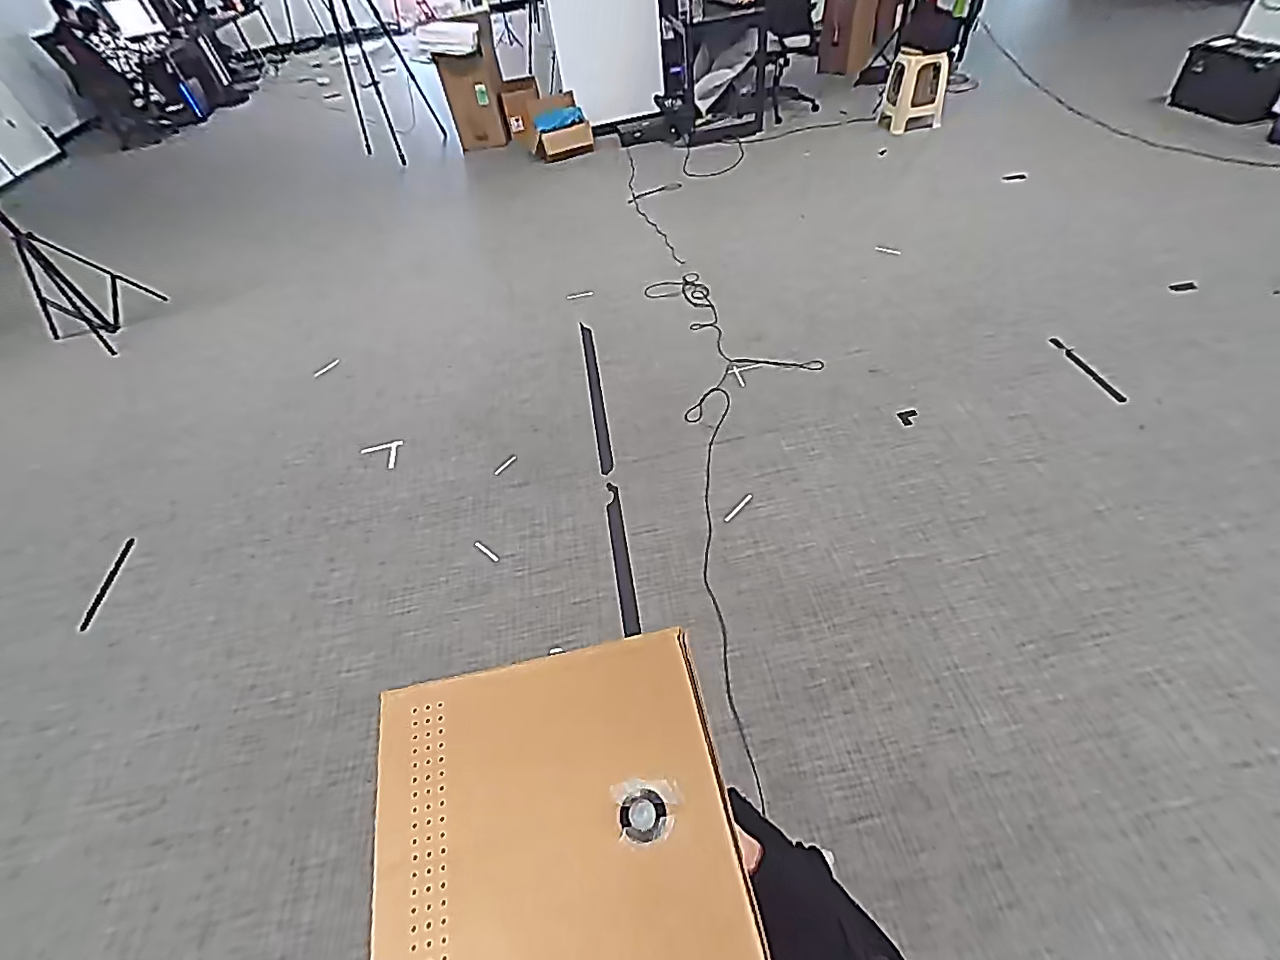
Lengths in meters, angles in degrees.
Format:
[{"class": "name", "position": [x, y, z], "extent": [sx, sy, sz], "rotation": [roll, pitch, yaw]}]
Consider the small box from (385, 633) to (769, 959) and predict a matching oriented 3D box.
[{"class": "small box", "position": [-0.037, 0.216, 0.324], "extent": [0.176, 0.168, 0.179], "rotation": [-12, 58, -4]}]
